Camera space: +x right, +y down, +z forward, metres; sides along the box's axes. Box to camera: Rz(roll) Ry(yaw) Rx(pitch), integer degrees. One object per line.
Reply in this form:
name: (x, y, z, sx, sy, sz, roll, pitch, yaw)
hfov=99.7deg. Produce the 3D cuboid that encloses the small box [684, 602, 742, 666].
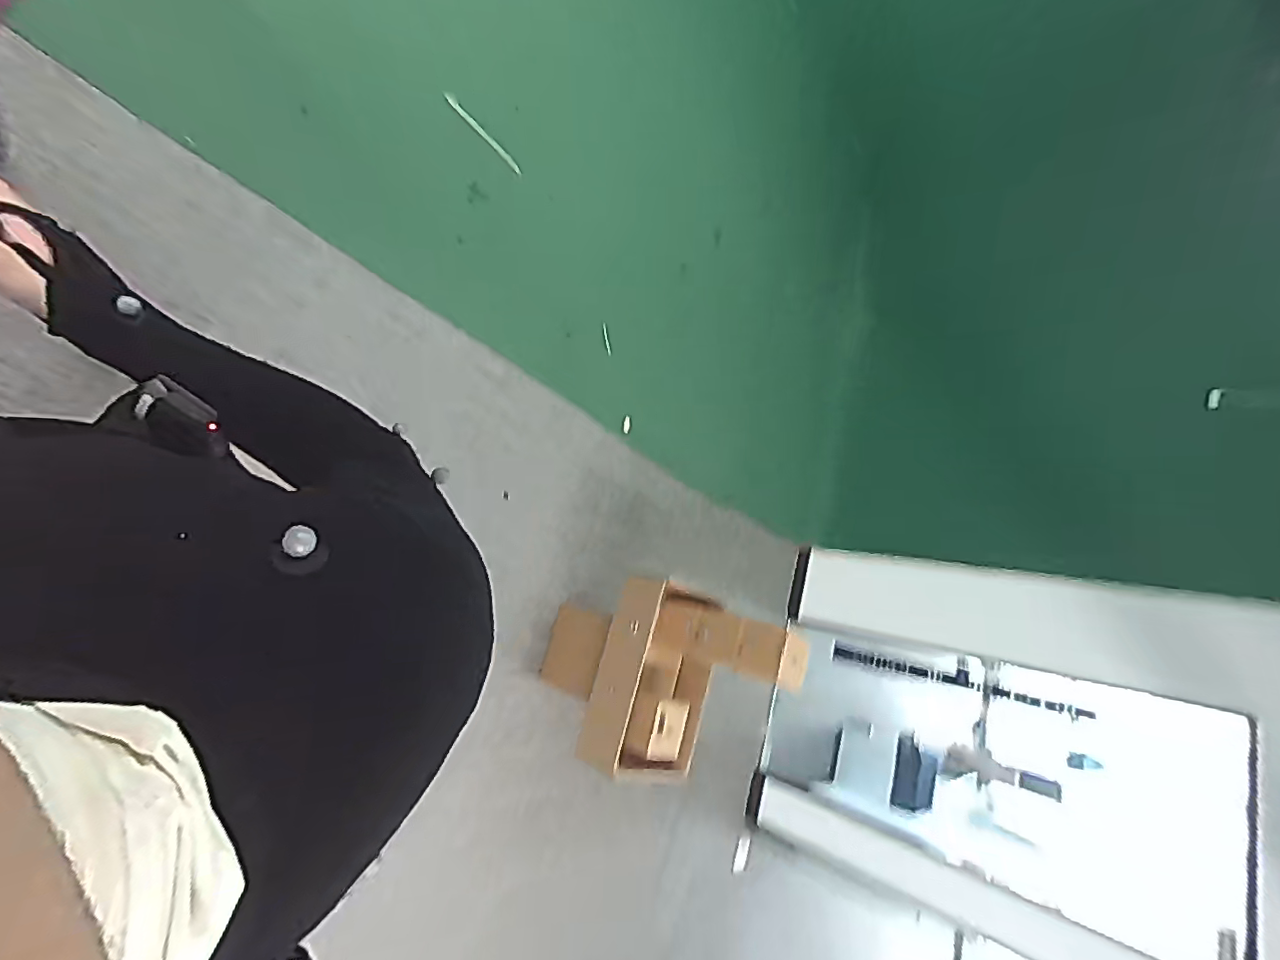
small box: (0.280, 0.525, 1.841, 0.179, 0.176, 0.168, 36, 65, -43)

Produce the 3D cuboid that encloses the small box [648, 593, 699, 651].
small box: (0.158, 0.518, 1.951, 0.179, 0.176, 0.168, 33, 68, -44)

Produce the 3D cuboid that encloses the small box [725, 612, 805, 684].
small box: (0.400, 0.534, 1.732, 0.179, 0.176, 0.168, 37, 65, -42)

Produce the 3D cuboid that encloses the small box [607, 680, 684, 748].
small box: (0.017, 0.778, 1.804, 0.179, 0.176, 0.168, 31, 69, -46)
